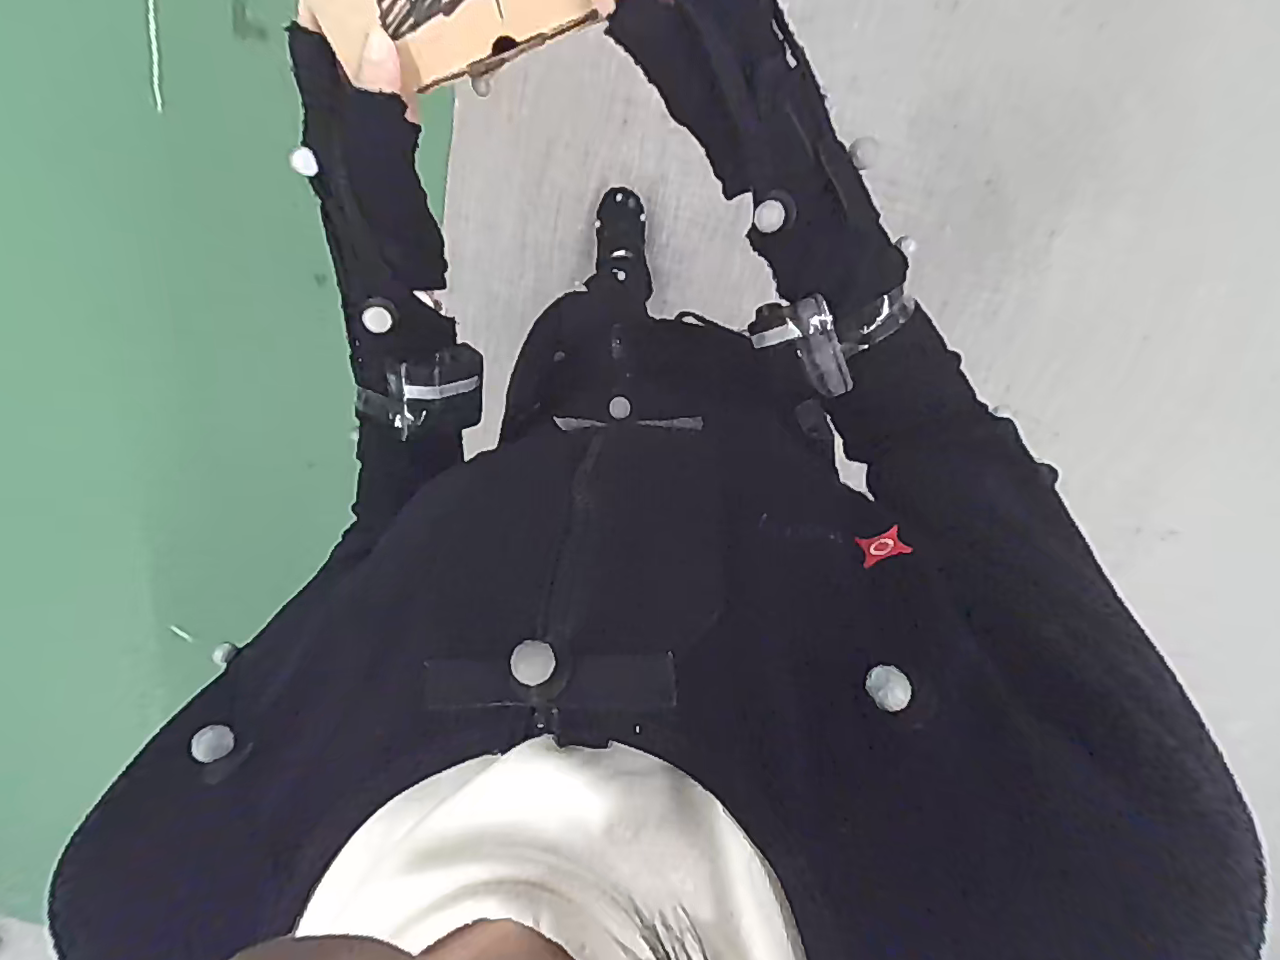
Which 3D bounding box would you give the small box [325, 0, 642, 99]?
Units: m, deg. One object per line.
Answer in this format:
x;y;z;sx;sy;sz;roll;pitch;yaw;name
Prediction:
-0.090;-0.340;0.289;0.168;0.176;0.179;-13;129;10;small box
